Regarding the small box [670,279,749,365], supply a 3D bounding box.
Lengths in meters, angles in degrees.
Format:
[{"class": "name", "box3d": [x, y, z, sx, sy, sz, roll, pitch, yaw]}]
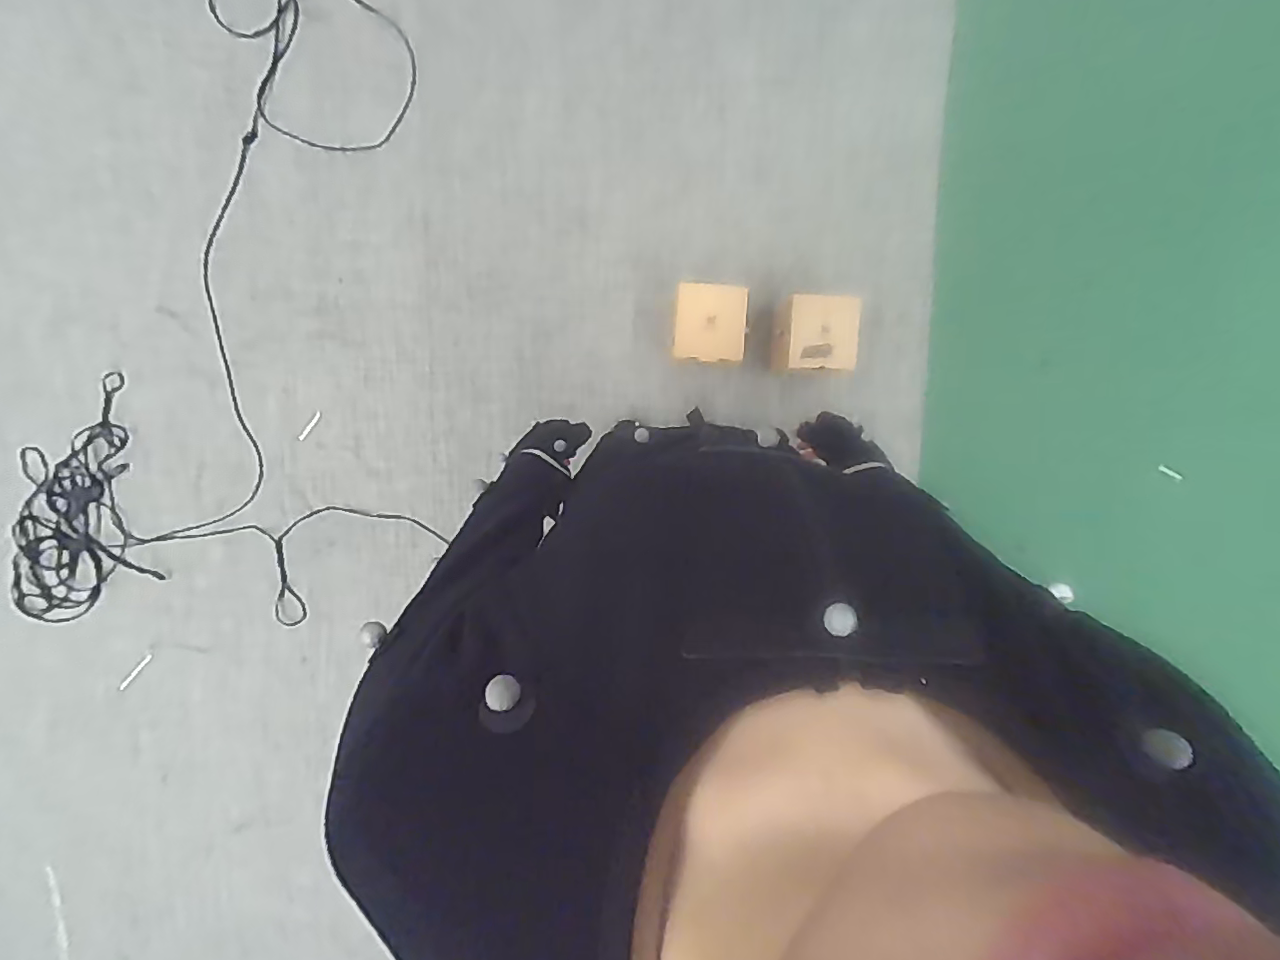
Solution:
[{"class": "small box", "box3d": [0.166, -0.387, 1.348, 0.168, 0.176, 0.179, 3, 97, -1]}]

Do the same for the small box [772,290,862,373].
[{"class": "small box", "box3d": [0.435, -0.364, 1.354, 0.168, 0.176, 0.179, 2, 96, -1]}]
